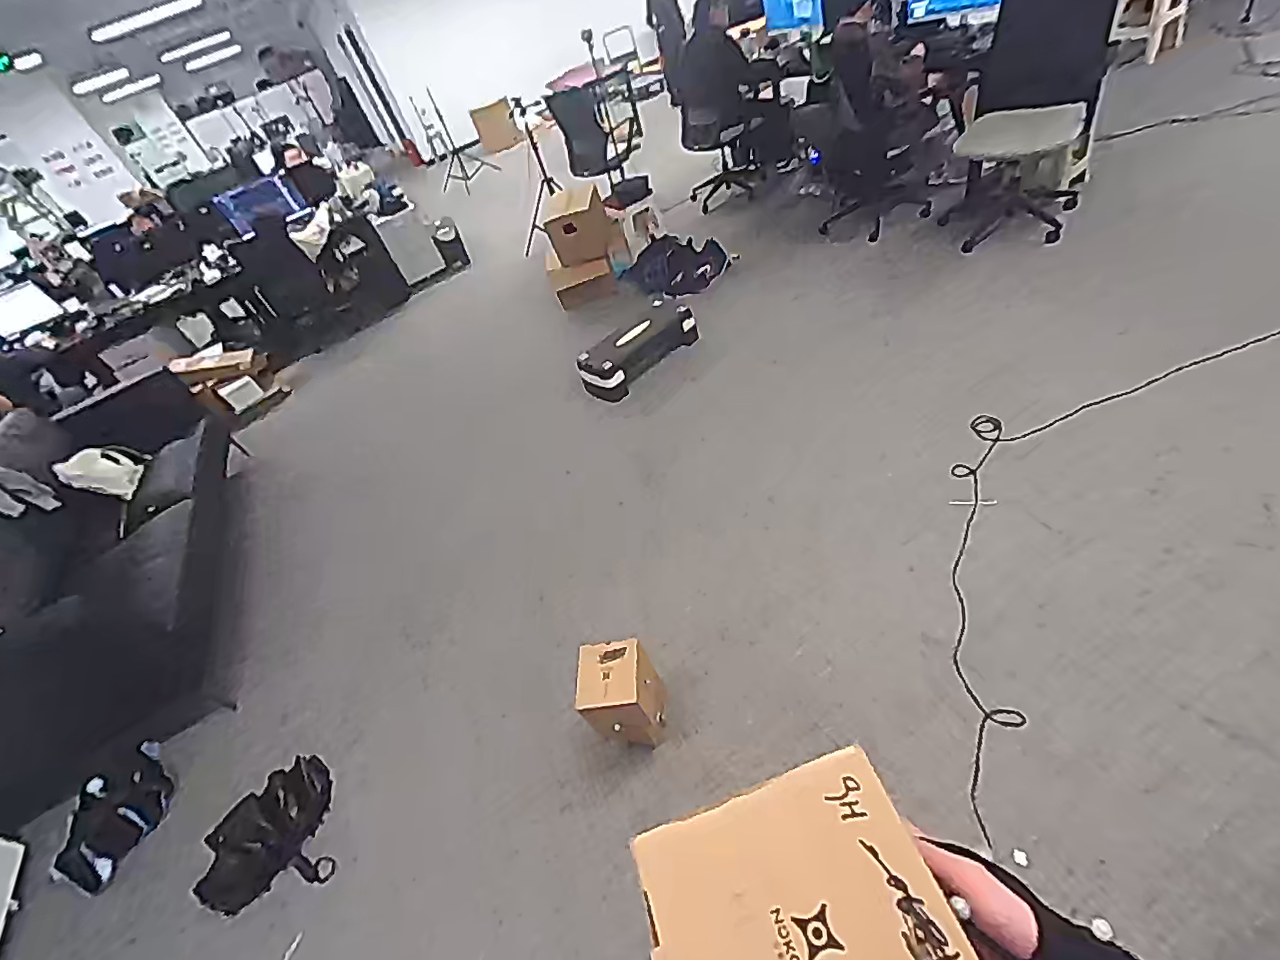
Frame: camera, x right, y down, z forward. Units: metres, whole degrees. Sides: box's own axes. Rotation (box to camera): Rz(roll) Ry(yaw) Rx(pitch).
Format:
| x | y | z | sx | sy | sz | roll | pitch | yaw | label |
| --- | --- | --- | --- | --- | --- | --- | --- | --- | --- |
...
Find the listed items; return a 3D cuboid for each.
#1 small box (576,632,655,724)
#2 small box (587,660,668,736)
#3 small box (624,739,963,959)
| x | y | z | sx | sy | sz | roll | pitch | yaw | label |
| --- | --- | --- | --- | --- | --- | --- | --- | --- | --- |
| -0.059 | 0.538 | 1.464 | 0.168 | 0.176 | 0.179 | -12 | 45 | 13 | small box |
| -0.030 | 0.638 | 1.594 | 0.179 | 0.176 | 0.168 | -1 | 48 | 20 | small box |
| 0.108 | 0.316 | 0.390 | 0.179 | 0.176 | 0.168 | -21 | 51 | 0 | small box |
